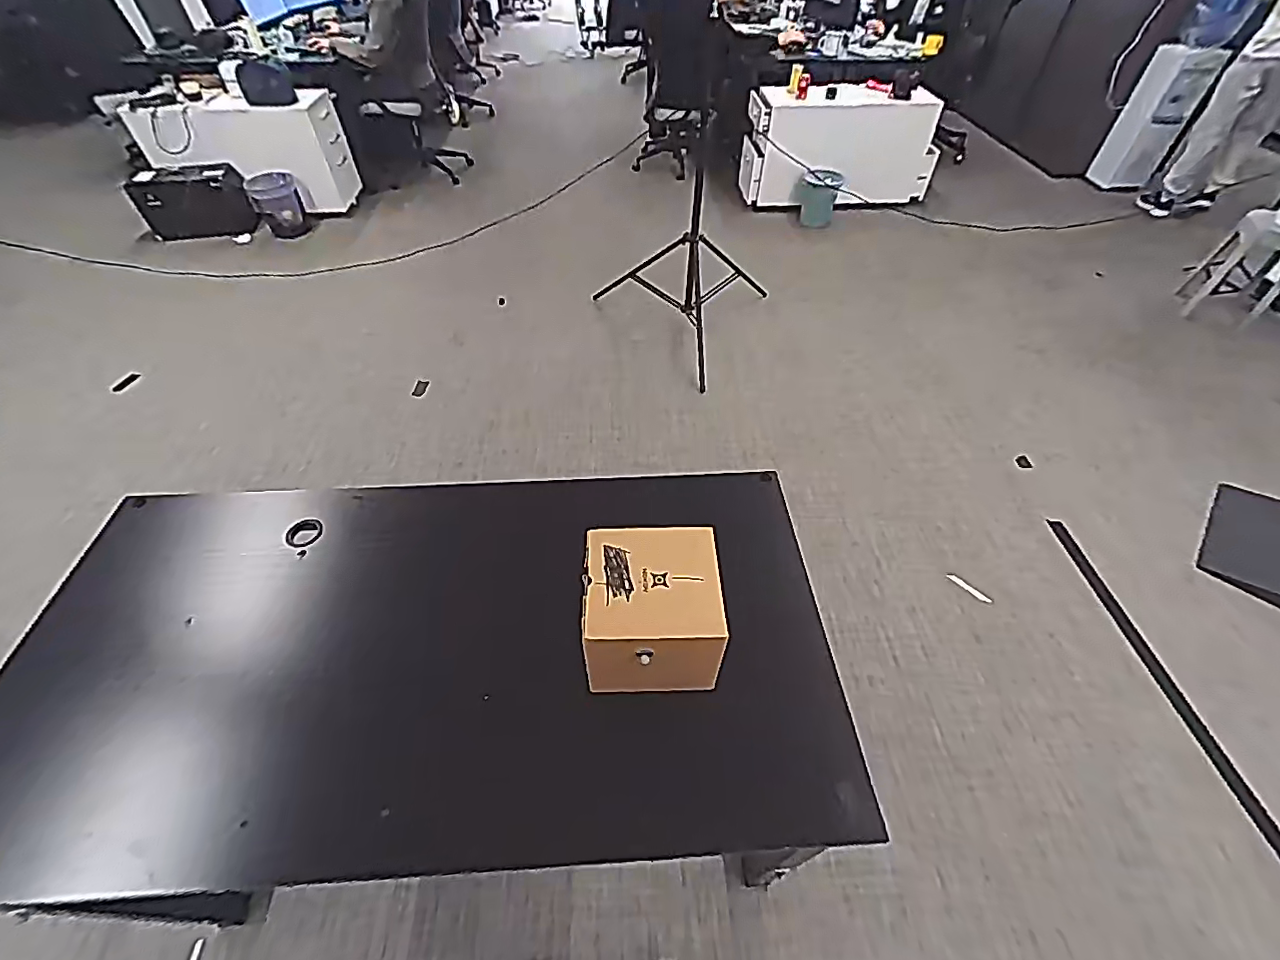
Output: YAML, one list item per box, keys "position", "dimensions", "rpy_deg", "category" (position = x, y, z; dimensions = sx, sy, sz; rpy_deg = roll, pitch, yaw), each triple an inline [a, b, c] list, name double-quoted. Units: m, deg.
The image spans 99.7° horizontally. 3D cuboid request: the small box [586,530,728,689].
- position: [0.021, 0.186, 0.768]
  dimensions: [0.179, 0.176, 0.168]
  rpy_deg: [-1, 48, -1]
  category: "small box"
